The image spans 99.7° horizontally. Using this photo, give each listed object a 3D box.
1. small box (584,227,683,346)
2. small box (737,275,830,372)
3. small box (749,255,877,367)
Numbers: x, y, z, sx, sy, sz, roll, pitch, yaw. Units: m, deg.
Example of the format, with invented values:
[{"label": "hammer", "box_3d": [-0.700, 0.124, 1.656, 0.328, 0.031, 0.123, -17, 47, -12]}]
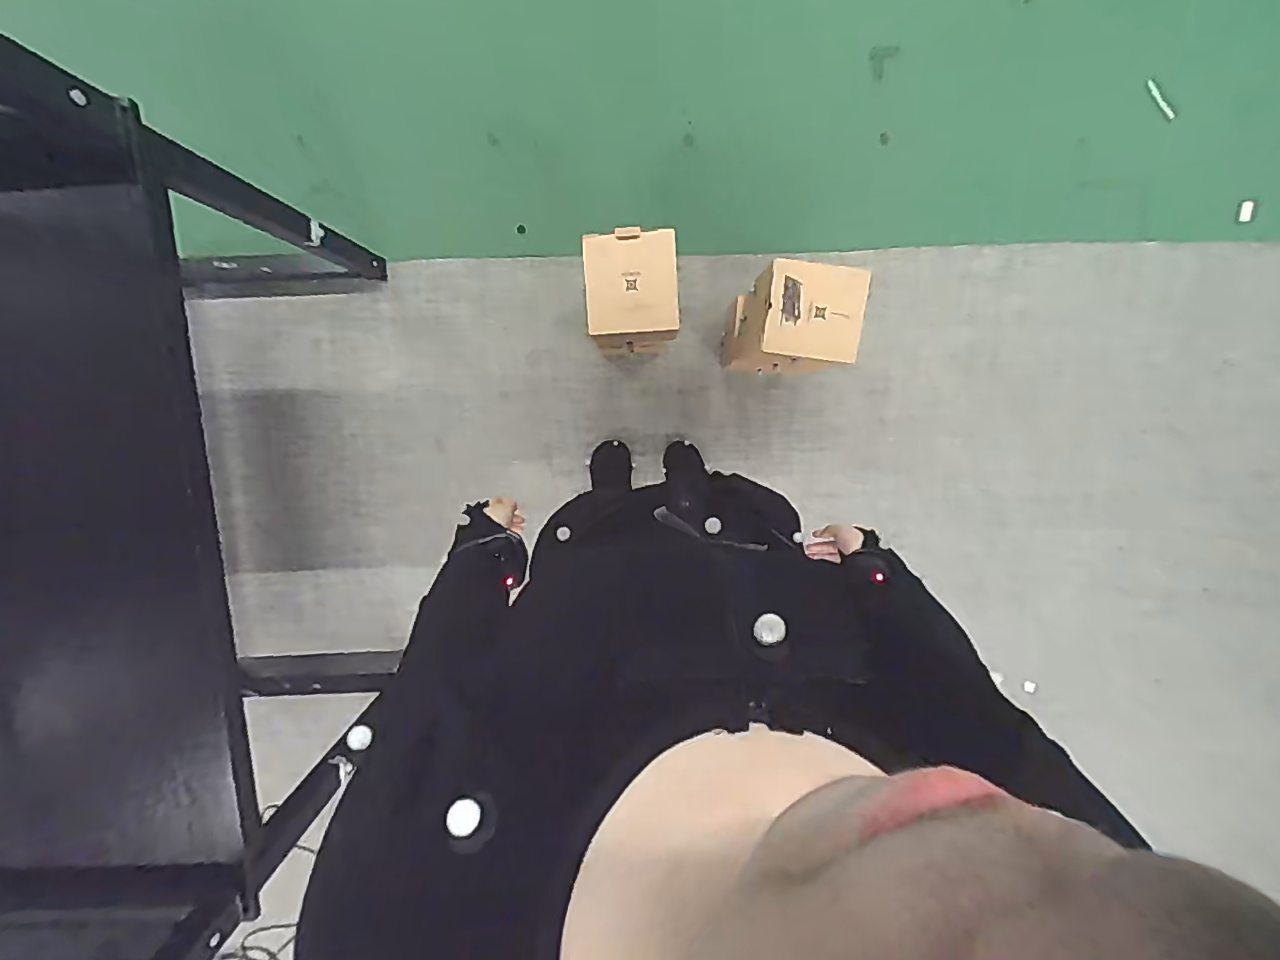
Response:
[{"label": "small box", "box_3d": [-0.010, -0.355, 1.021, 0.168, 0.176, 0.179, -4, 98, 2]}, {"label": "small box", "box_3d": [0.321, -0.334, 1.185, 0.179, 0.176, 0.168, 10, 99, -1]}, {"label": "small box", "box_3d": [0.314, -0.309, 1.023, 0.179, 0.176, 0.168, 7, 99, -1]}]
